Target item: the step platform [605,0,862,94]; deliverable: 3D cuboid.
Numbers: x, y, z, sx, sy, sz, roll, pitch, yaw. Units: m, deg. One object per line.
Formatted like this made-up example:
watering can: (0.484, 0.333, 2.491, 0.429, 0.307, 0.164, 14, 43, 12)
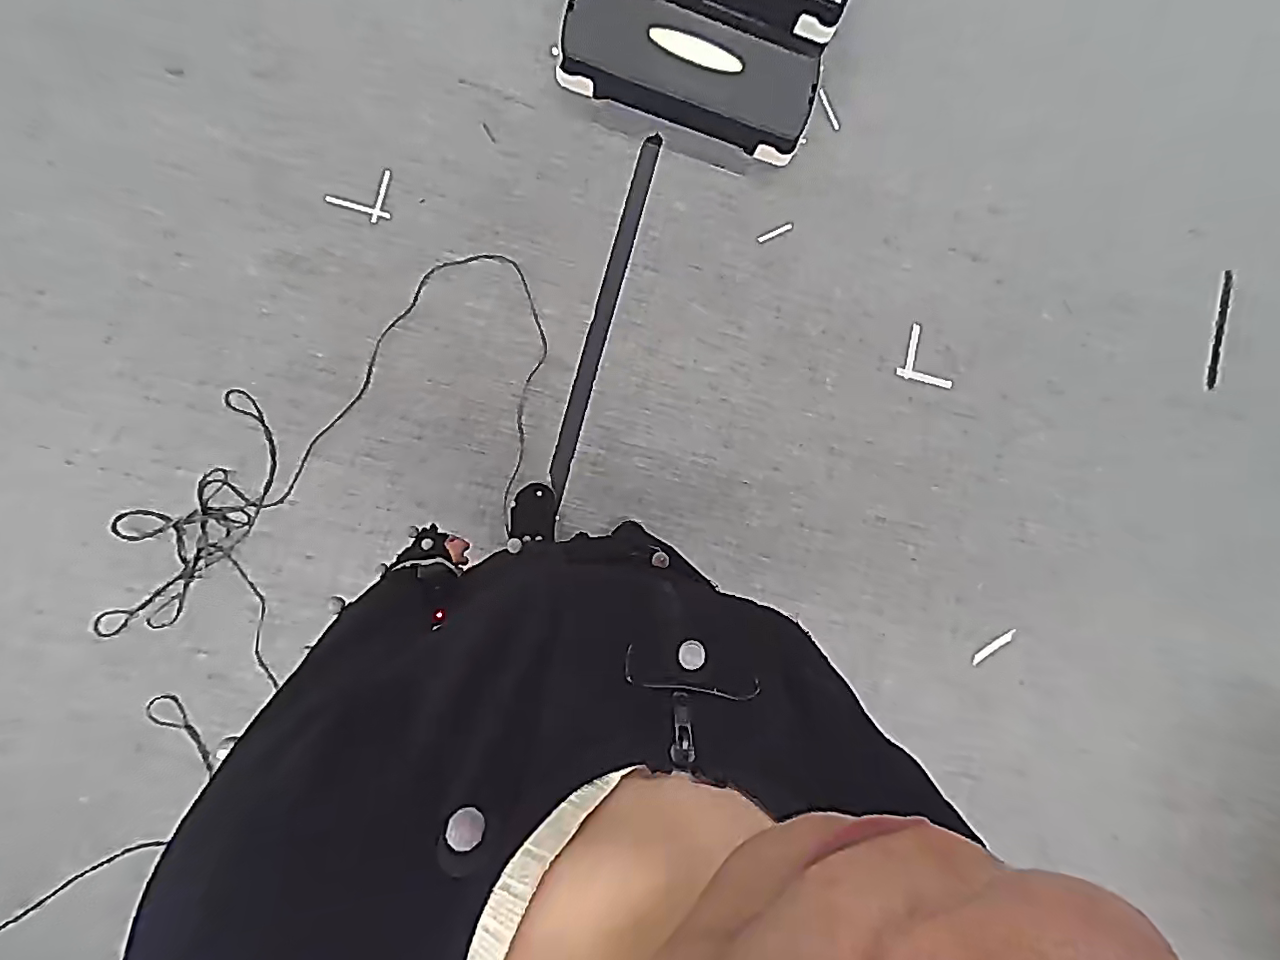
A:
step platform: (0.244, -1.325, 1.417, 0.684, 0.204, 0.286, 20, 85, -7)
